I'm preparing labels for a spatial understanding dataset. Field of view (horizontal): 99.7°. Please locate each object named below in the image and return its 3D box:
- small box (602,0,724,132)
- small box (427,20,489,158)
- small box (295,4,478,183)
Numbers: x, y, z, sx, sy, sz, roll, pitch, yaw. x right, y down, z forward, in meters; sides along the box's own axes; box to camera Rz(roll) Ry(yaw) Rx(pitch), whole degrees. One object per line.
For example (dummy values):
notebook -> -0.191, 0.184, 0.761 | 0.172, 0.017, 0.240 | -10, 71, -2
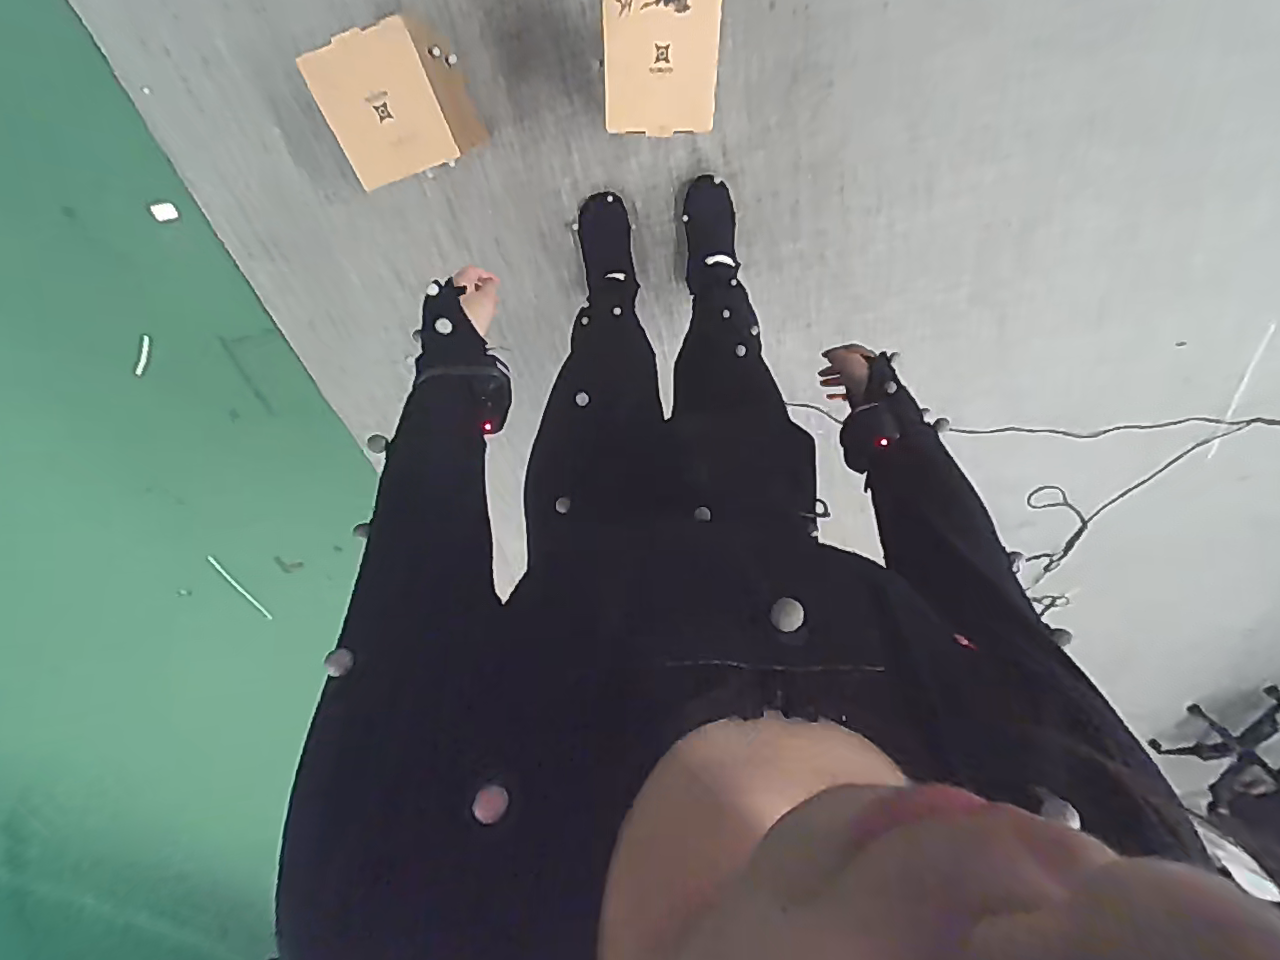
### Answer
small box -> 0.027, -0.646, 0.826 | 0.168, 0.176, 0.179 | -2, 127, -4
small box -> -0.390, -0.679, 0.966 | 0.168, 0.176, 0.179 | -17, 127, 7
small box -> -0.372, -0.587, 0.833 | 0.168, 0.176, 0.179 | -16, 127, 8
